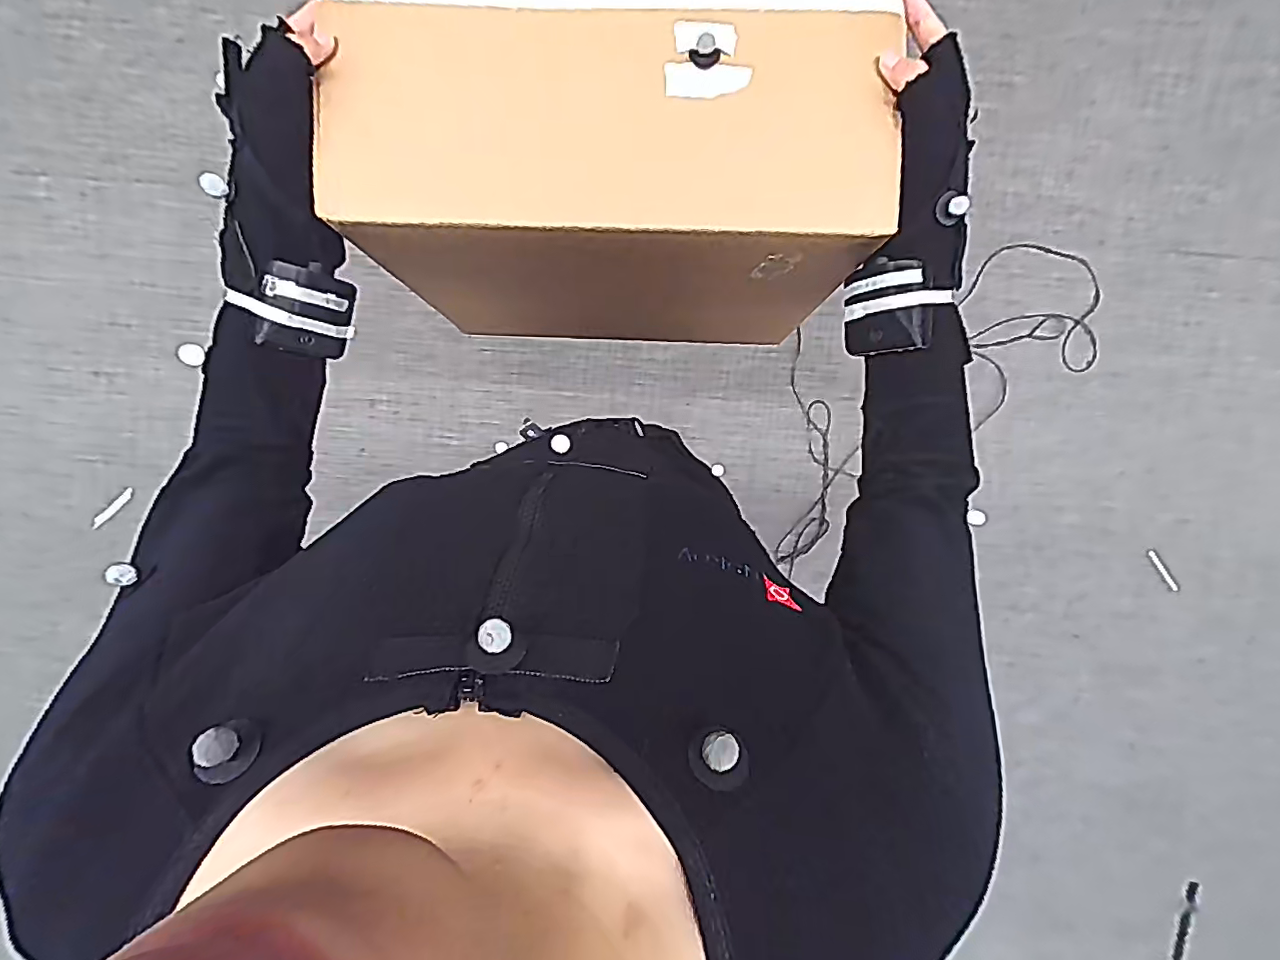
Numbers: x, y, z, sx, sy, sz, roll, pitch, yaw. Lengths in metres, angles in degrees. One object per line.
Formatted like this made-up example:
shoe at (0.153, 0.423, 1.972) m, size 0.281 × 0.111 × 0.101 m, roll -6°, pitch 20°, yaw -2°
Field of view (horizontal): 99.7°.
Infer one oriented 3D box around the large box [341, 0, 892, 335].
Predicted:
large box at (-0.017, -0.338, 0.540) m, size 0.408 × 0.320 × 0.320 m, roll 2°, pitch 90°, yaw 0°

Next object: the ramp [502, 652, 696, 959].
ramp at (-0.115, 0.997, 1.498) m, size 0.509 × 0.206 × 0.991 m, roll 2°, pitch 95°, yaw 2°
